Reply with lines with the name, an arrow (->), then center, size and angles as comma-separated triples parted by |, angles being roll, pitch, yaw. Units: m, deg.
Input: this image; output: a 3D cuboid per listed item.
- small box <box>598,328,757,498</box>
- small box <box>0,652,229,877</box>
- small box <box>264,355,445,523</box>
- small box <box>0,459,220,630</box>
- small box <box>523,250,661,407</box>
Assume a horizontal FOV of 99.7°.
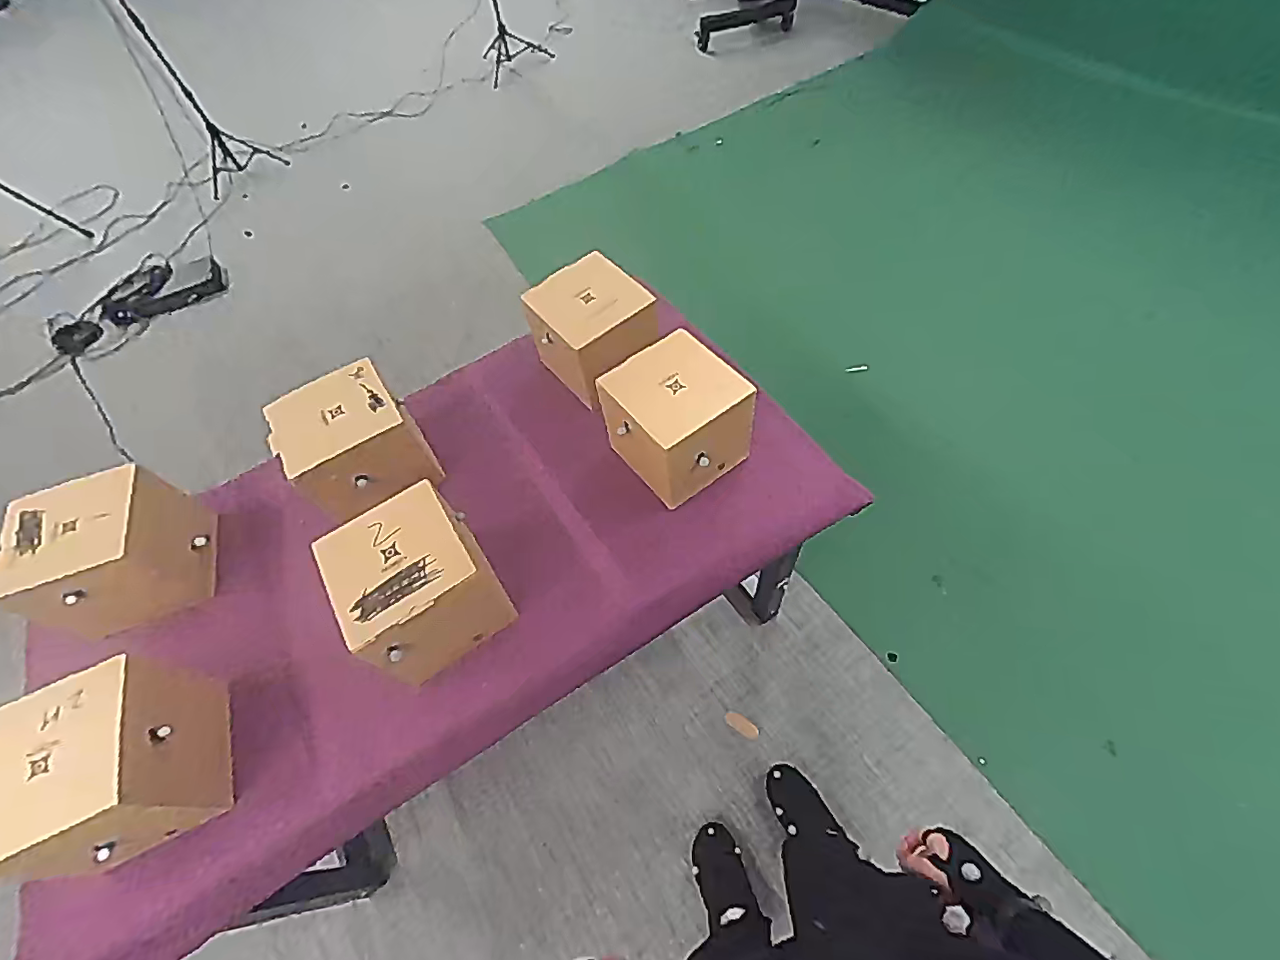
small box -> 0.060, -0.094, 0.841 | 0.168, 0.176, 0.179 | -34, 59, -14
small box -> -0.629, 0.337, 0.643 | 0.168, 0.176, 0.179 | -24, 59, -10
small box -> -0.451, -0.060, 0.872 | 0.179, 0.176, 0.168 | -32, 62, -13
small box -> -0.777, 0.102, 0.802 | 0.179, 0.176, 0.168 | -19, 60, -8
small box -> -0.078, -0.263, 0.960 | 0.168, 0.176, 0.179 | -36, 63, -14
